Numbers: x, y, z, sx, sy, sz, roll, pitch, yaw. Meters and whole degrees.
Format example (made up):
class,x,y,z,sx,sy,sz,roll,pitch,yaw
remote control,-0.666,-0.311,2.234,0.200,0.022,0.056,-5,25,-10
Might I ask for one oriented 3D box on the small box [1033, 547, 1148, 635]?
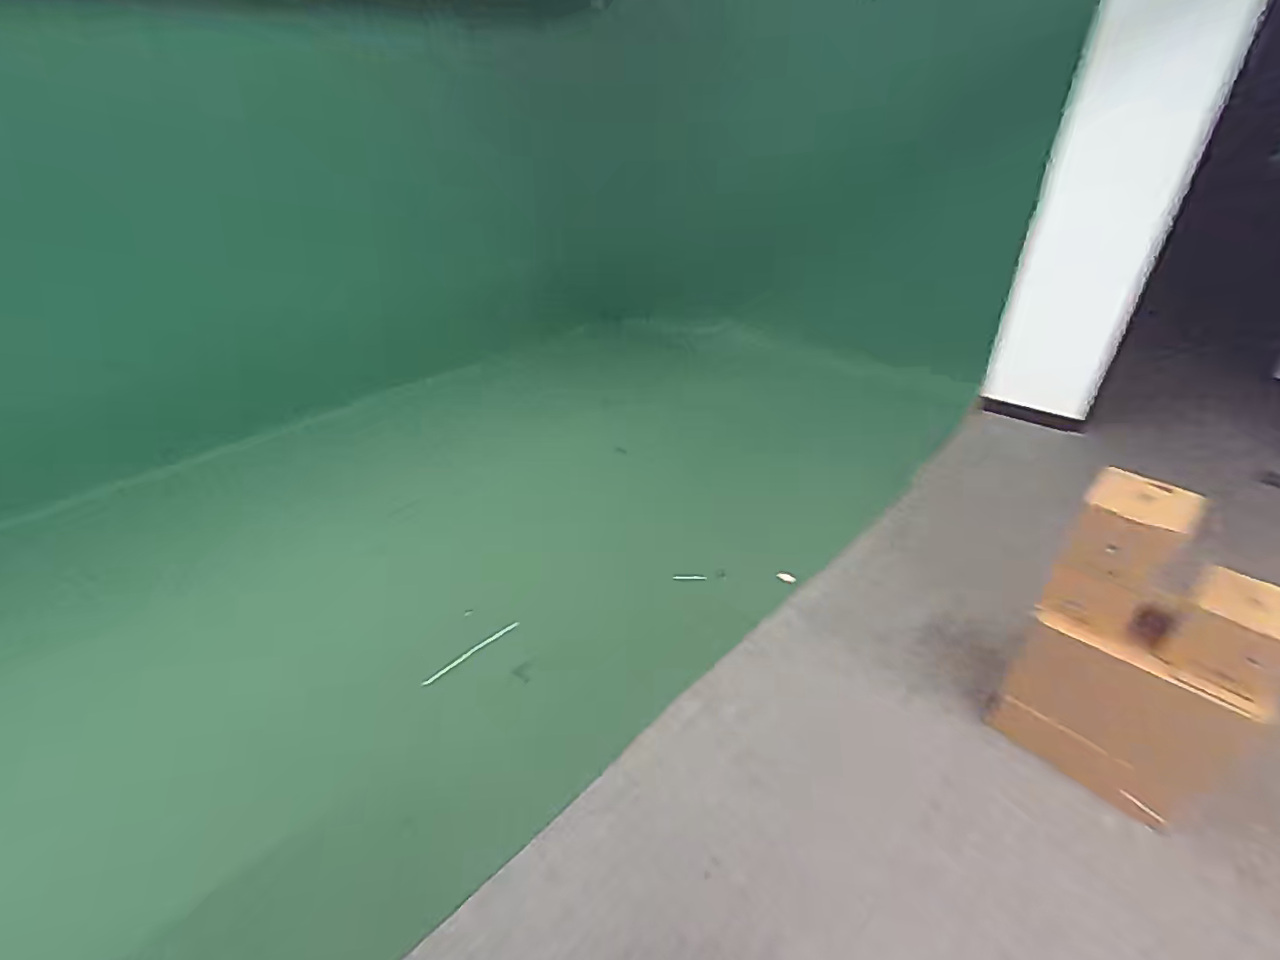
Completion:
class,x,y,z,sx,sy,sz,roll,pitch,yaw
small box,1.072,0.226,1.281,0.179,0.176,0.168,-32,44,-31

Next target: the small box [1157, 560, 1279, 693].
class,x,y,z,sx,sy,sz,roll,pitch,yaw
small box,1.242,0.307,1.137,0.179,0.176,0.168,-28,40,-30

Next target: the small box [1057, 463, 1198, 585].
class,x,y,z,sx,sy,sz,roll,pitch,yaw
small box,1.055,0.096,1.183,0.179,0.176,0.168,-31,44,-30
